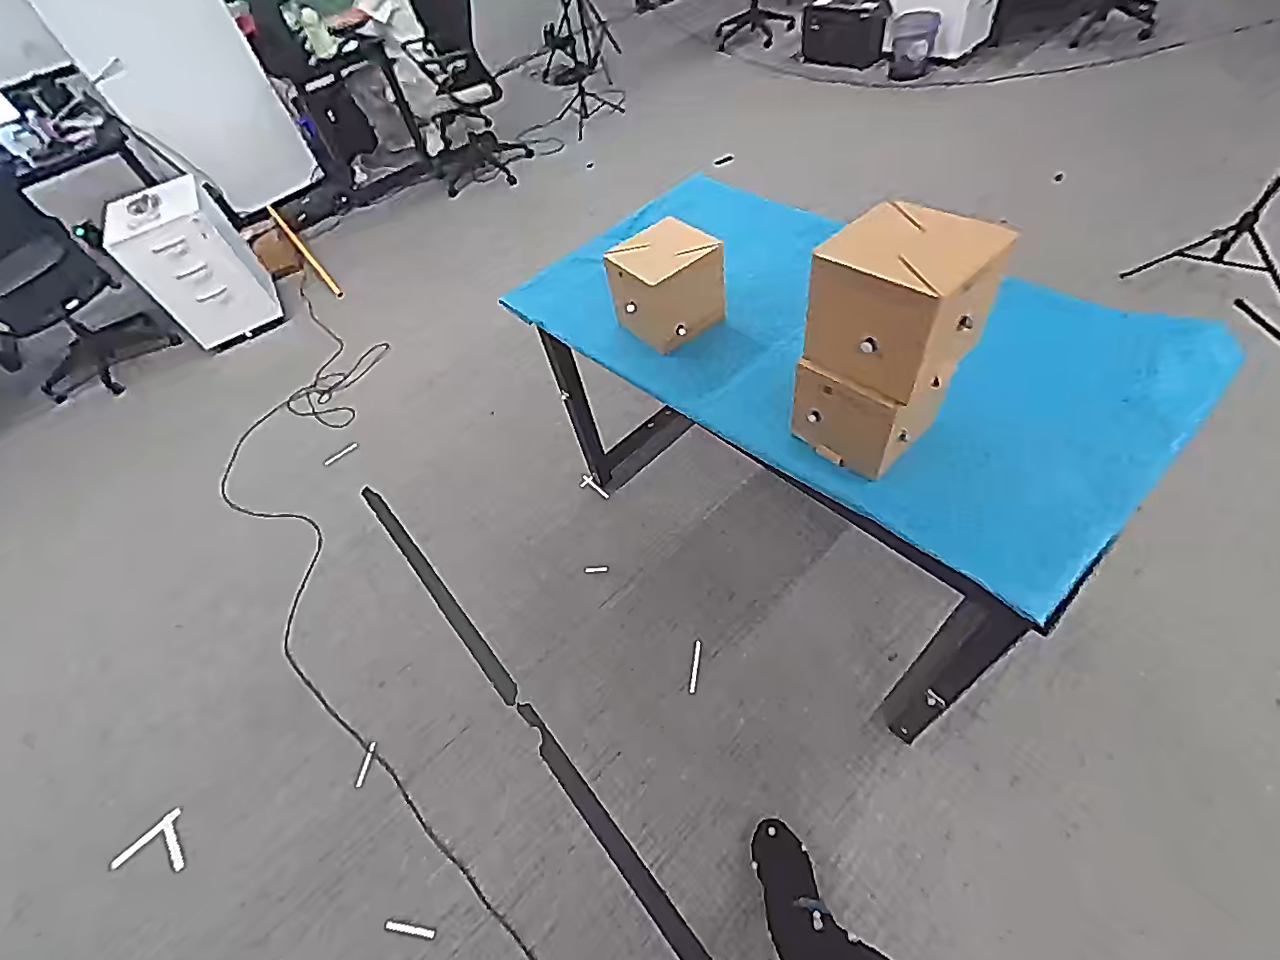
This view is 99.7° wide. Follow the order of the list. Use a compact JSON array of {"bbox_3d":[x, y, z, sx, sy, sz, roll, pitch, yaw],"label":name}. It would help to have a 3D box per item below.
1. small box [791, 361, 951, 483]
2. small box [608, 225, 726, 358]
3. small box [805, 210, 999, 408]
[{"bbox_3d":[0.361,-0.135,0.857,0.179,0.176,0.168,-40,56,-20],"label":"small box"},{"bbox_3d":[0.057,-0.390,1.108,0.179,0.176,0.168,-36,56,-16],"label":"small box"},{"bbox_3d":[0.346,-0.235,0.728,0.168,0.176,0.179,-37,53,-20],"label":"small box"}]
